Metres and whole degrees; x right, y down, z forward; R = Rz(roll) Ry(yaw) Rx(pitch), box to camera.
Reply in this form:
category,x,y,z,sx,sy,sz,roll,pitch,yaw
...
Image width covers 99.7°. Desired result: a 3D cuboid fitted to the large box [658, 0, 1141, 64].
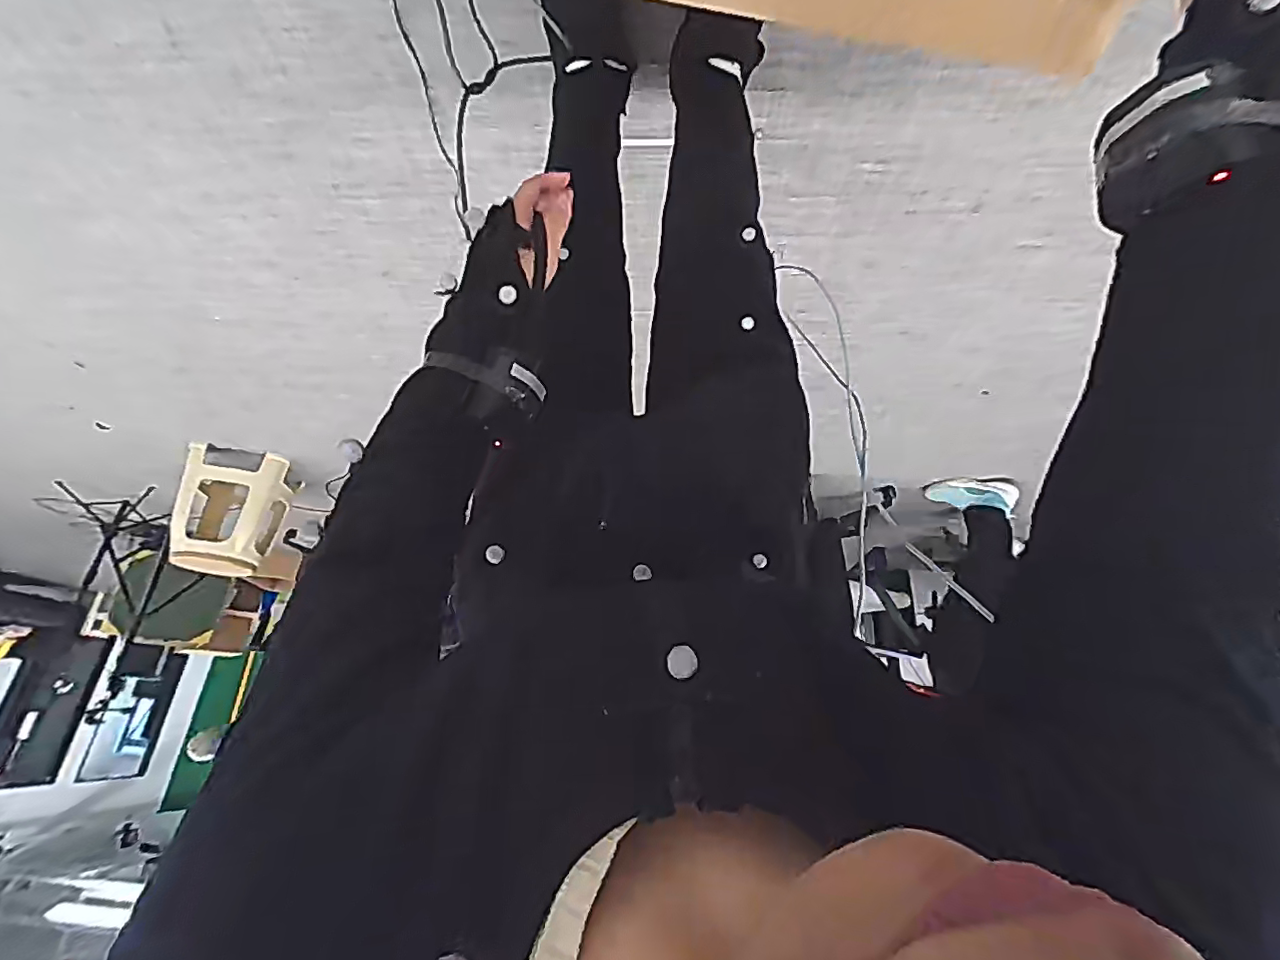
category,x,y,z,sx,sy,sz,roll,pitch,yaw
large box,0.228,-0.569,0.370,0.408,0.320,0.320,29,164,21
